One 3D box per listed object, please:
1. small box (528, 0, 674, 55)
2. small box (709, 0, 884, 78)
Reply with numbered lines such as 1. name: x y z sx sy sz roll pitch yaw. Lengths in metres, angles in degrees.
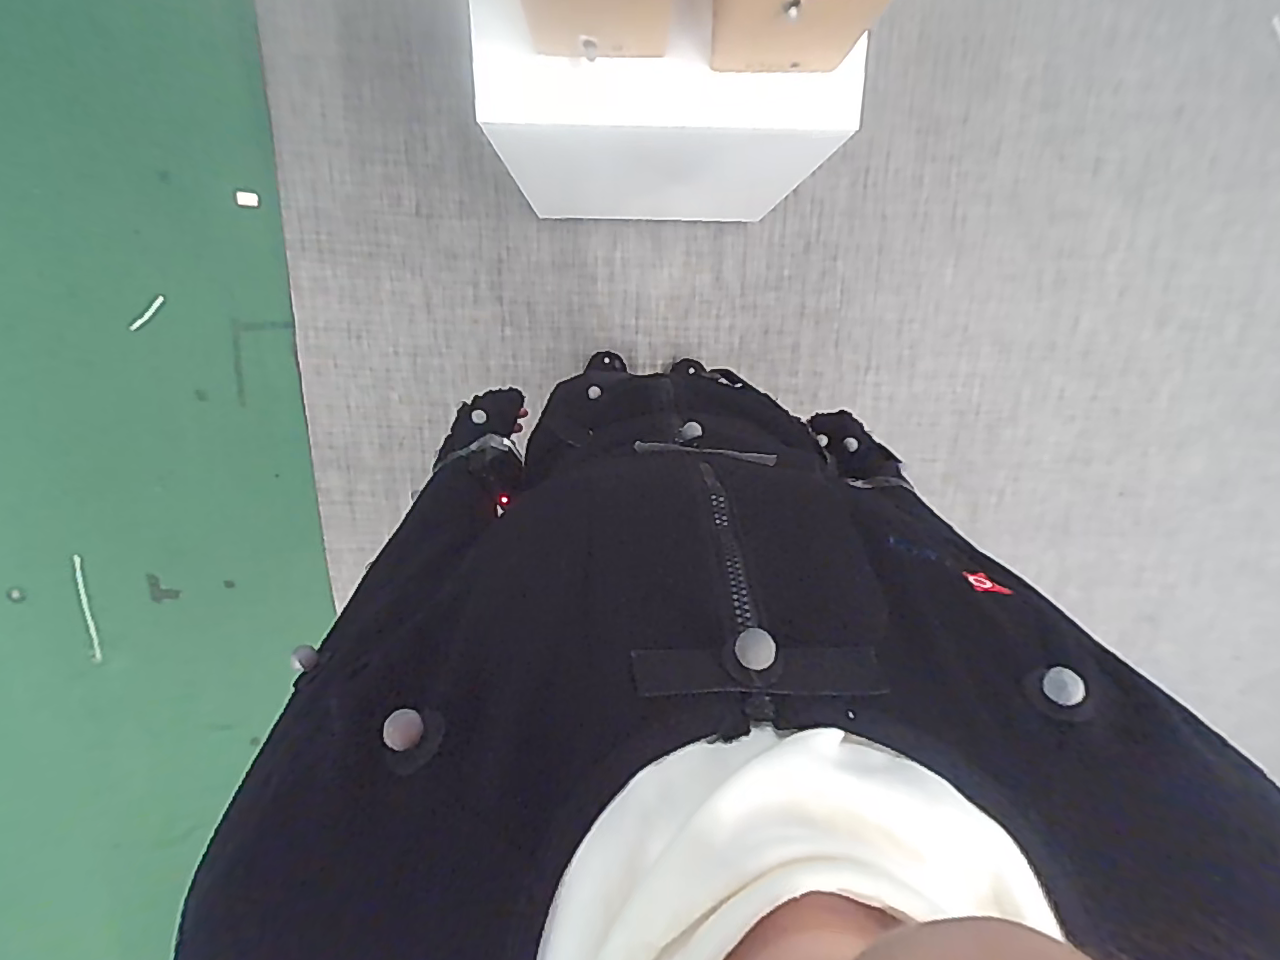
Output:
1. small box: -0.046 -0.605 0.585 0.168 0.176 0.179 -2 105 -1
2. small box: 0.173 -0.596 0.607 0.168 0.176 0.179 0 102 -2
